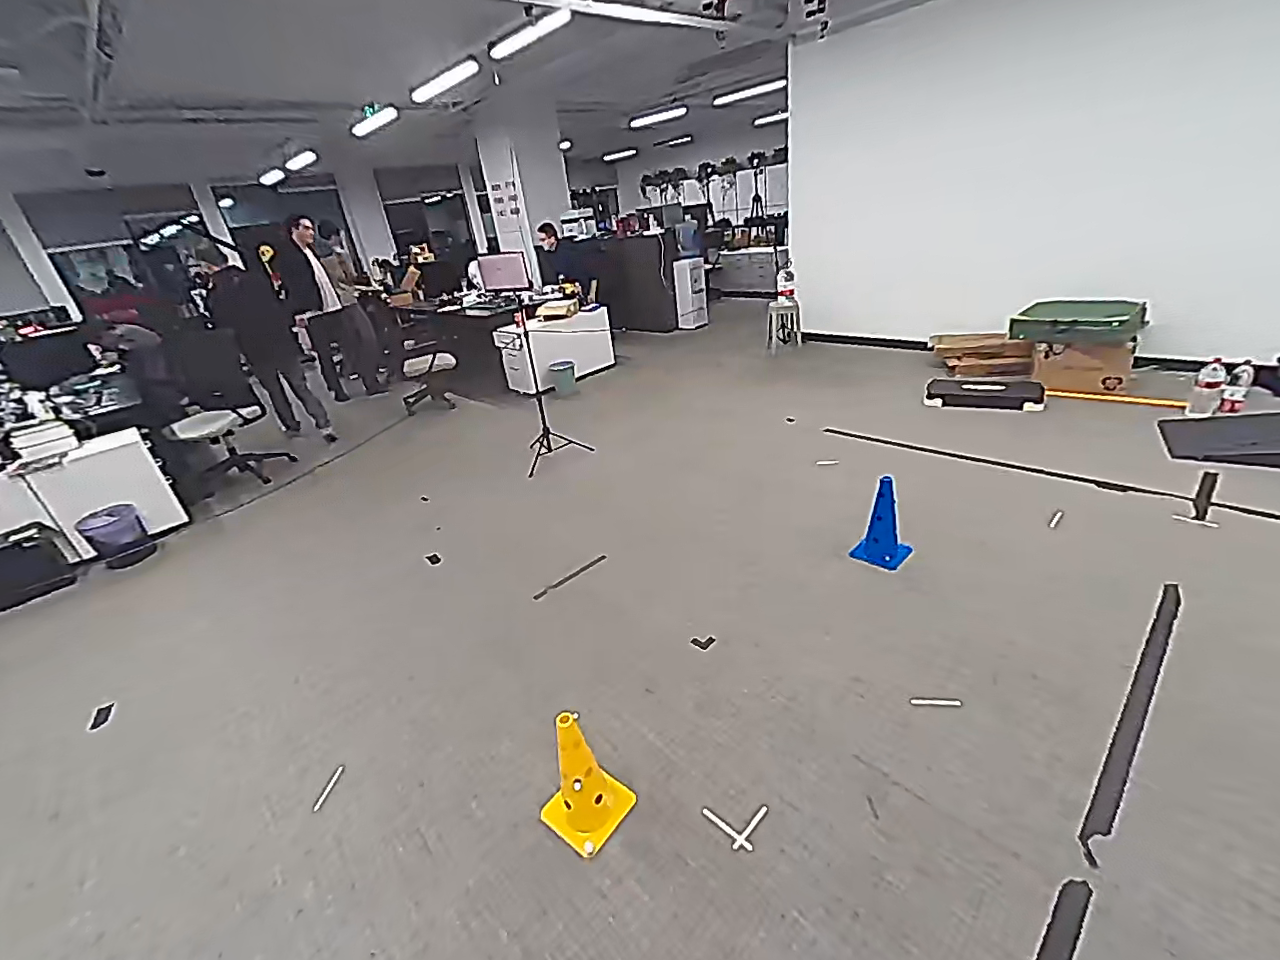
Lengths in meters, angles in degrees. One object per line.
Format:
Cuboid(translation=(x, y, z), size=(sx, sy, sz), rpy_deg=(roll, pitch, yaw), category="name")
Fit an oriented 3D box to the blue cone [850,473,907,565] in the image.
Cuboid(translation=(0.992, 0.150, 2.226), size=(0.193, 0.380, 0.192), rpy_deg=(-28, 32, -34), category="blue cone")
